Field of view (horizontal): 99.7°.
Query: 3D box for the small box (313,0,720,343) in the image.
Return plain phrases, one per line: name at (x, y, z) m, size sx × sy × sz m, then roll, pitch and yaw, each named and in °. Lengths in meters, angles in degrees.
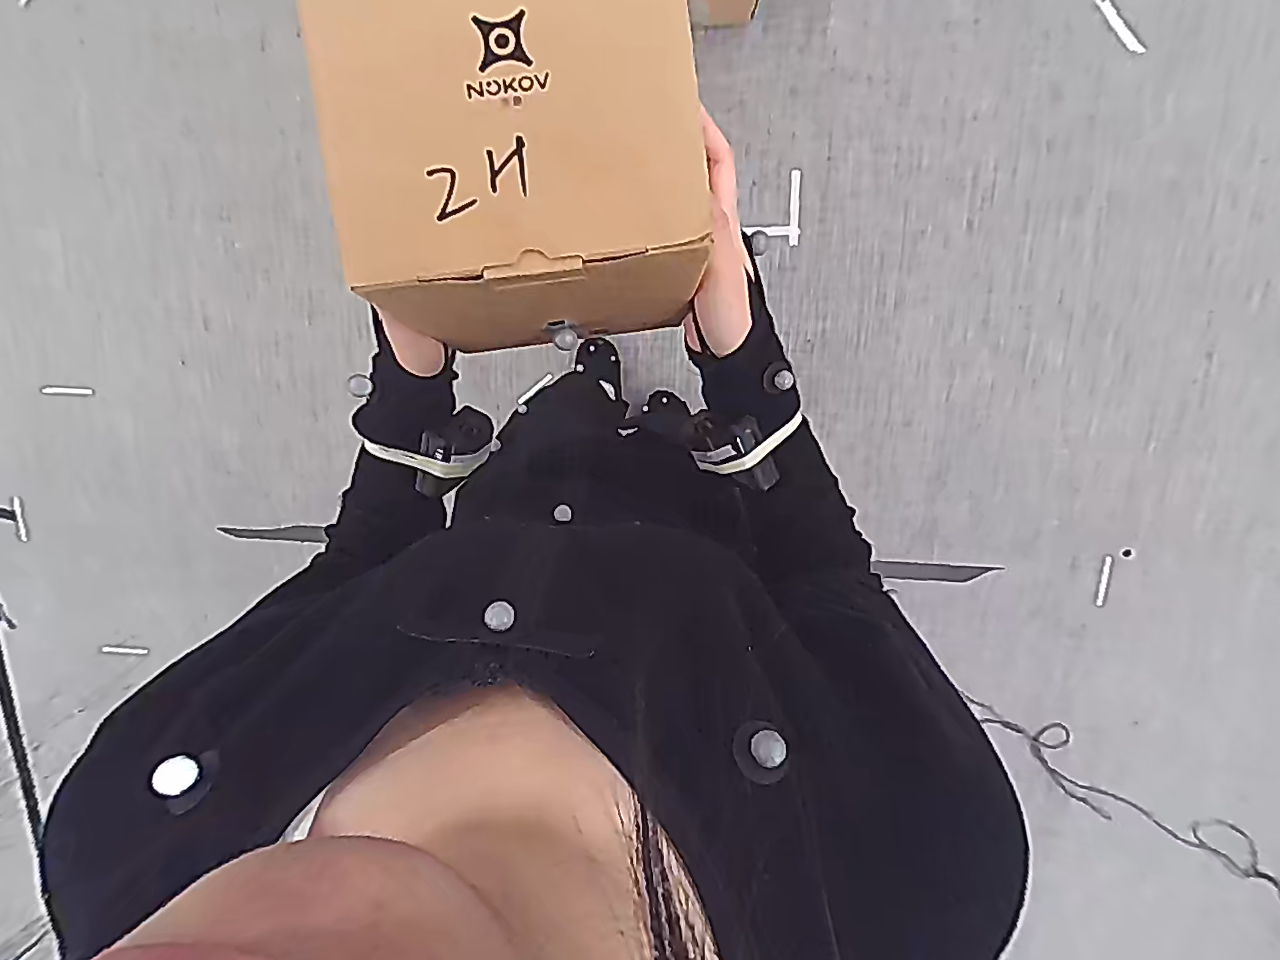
small box at (-0.057, -0.189, 0.312) m, size 0.168 × 0.176 × 0.179 m, roll -7°, pitch 94°, yaw -1°
